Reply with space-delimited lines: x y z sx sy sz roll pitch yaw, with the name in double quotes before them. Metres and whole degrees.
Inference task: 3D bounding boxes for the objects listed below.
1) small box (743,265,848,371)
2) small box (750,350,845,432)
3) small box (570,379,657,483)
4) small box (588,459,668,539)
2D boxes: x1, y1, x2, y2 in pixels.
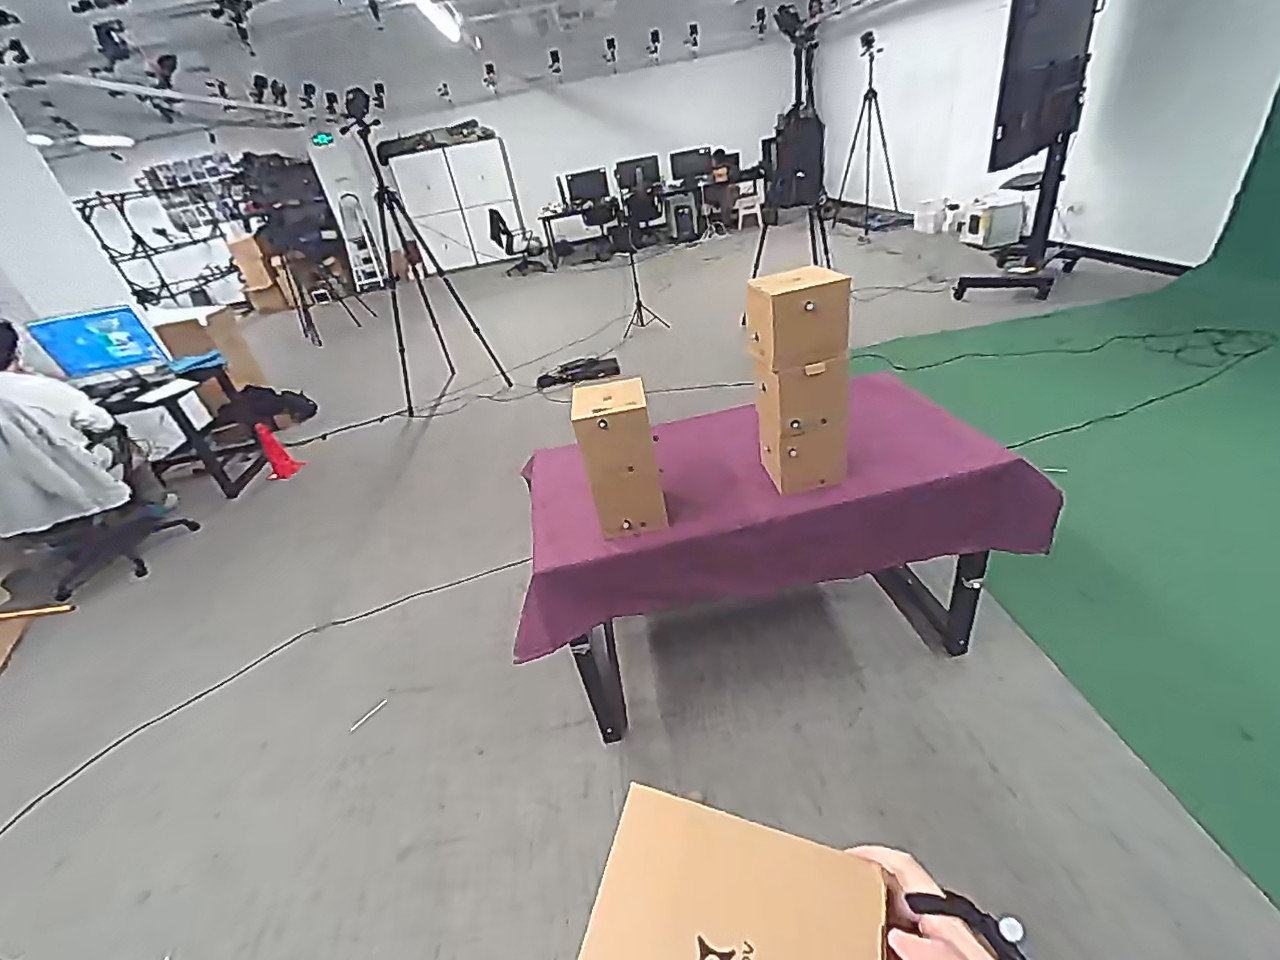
"small box" 0.343 -0.363 1.209 0.179 0.176 0.168 -15 32 -3
"small box" 0.376 -0.228 1.292 0.168 0.176 0.179 -14 31 -3
"small box" -0.059 -0.115 1.260 0.168 0.176 0.179 -12 31 2
"small box" -0.030 0.022 1.347 0.168 0.176 0.179 -11 33 2
